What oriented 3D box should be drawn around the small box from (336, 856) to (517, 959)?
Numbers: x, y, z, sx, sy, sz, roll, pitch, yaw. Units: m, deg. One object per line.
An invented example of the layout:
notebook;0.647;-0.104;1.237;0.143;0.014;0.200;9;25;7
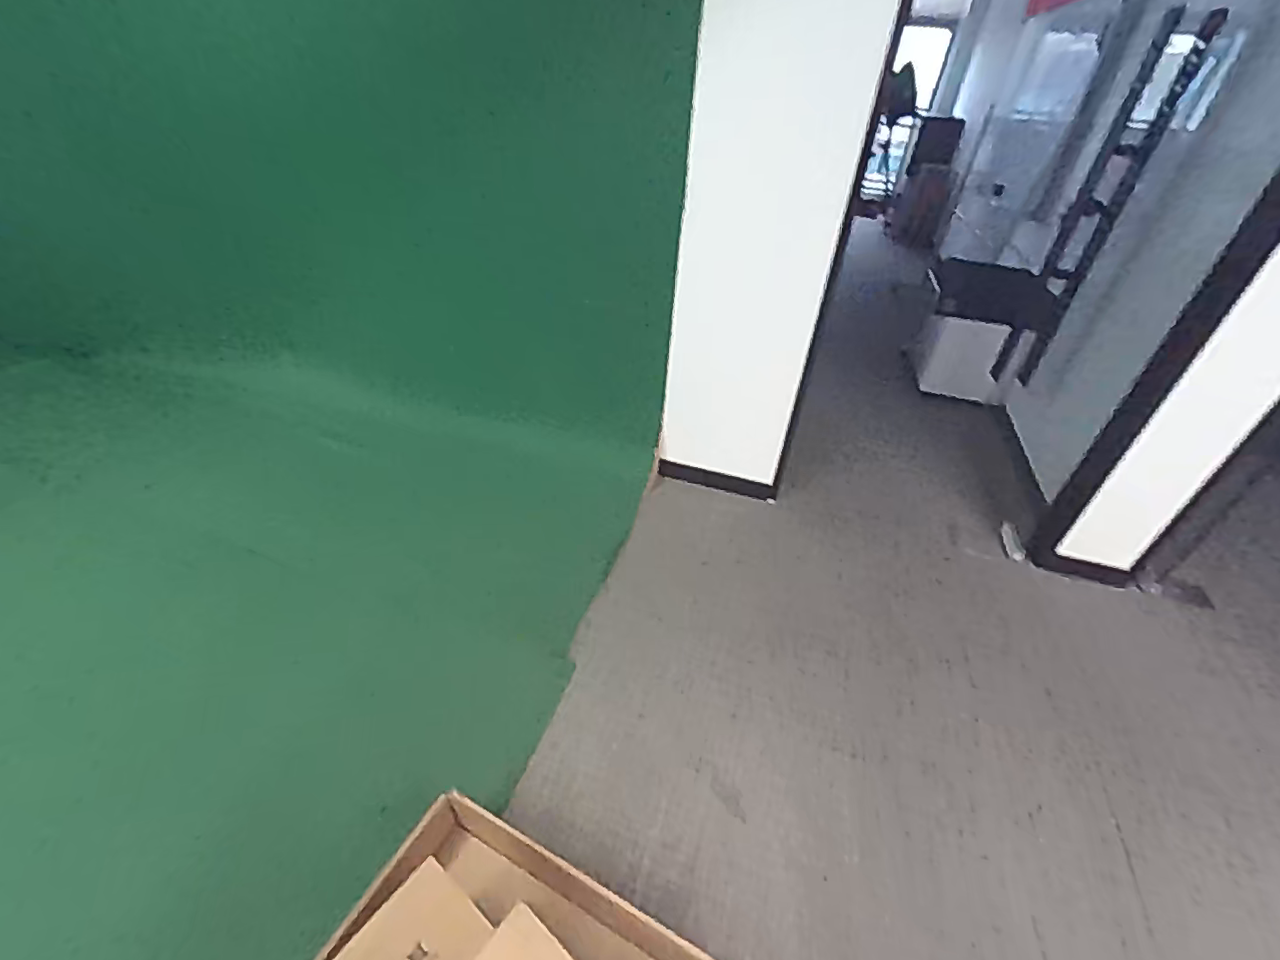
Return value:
small box;-0.292;0.695;0.766;0.179;0.176;0.168;29;44;26
